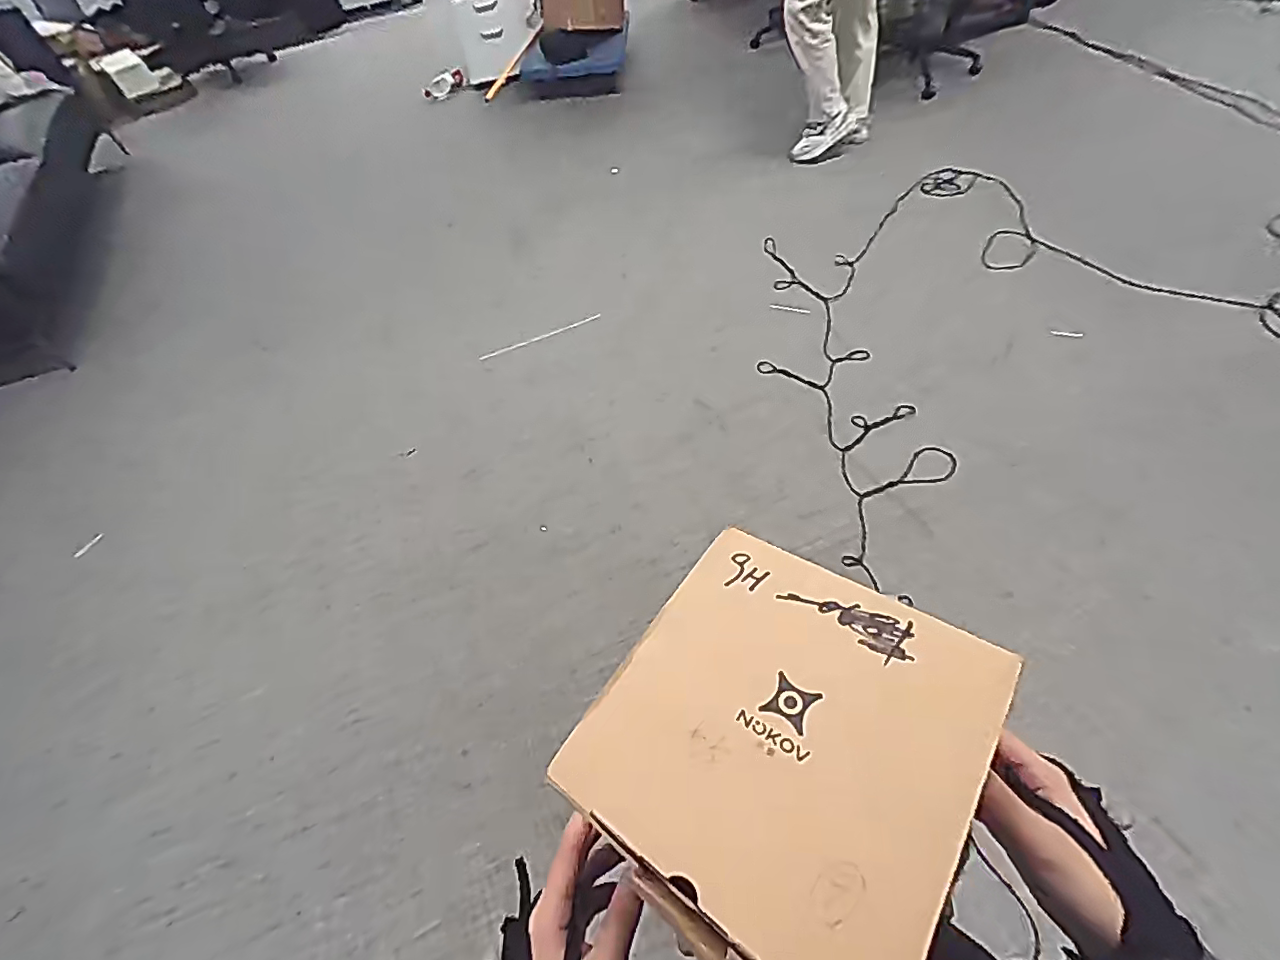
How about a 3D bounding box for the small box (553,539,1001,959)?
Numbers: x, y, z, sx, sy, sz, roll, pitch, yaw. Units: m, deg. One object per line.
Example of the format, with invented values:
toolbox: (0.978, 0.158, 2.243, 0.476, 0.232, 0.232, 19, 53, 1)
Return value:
small box: (0.083, 0.175, 0.329, 0.168, 0.176, 0.179, 23, 58, 31)
